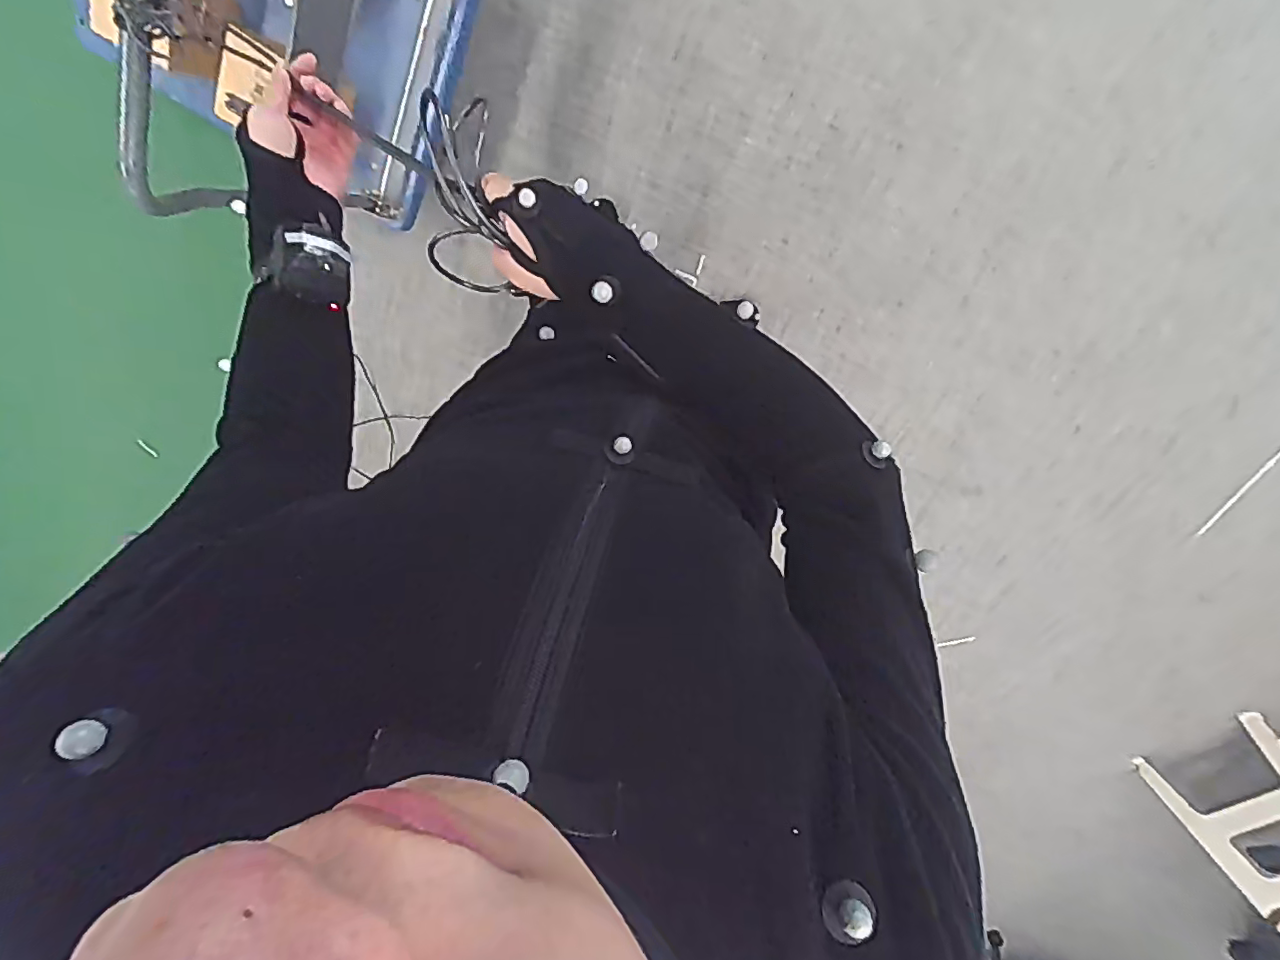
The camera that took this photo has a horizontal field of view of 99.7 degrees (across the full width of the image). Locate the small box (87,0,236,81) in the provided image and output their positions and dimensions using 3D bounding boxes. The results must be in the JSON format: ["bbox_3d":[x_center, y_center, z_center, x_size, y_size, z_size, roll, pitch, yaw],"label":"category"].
[{"bbox_3d":[-1.001,-0.979,1.141,0.179,0.176,0.168,27,117,-2],"label":"small box"}]

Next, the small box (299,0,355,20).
[{"bbox_3d":[-0.671,-1.044,1.044,0.179,0.176,0.168,32,117,-6],"label":"small box"}]
